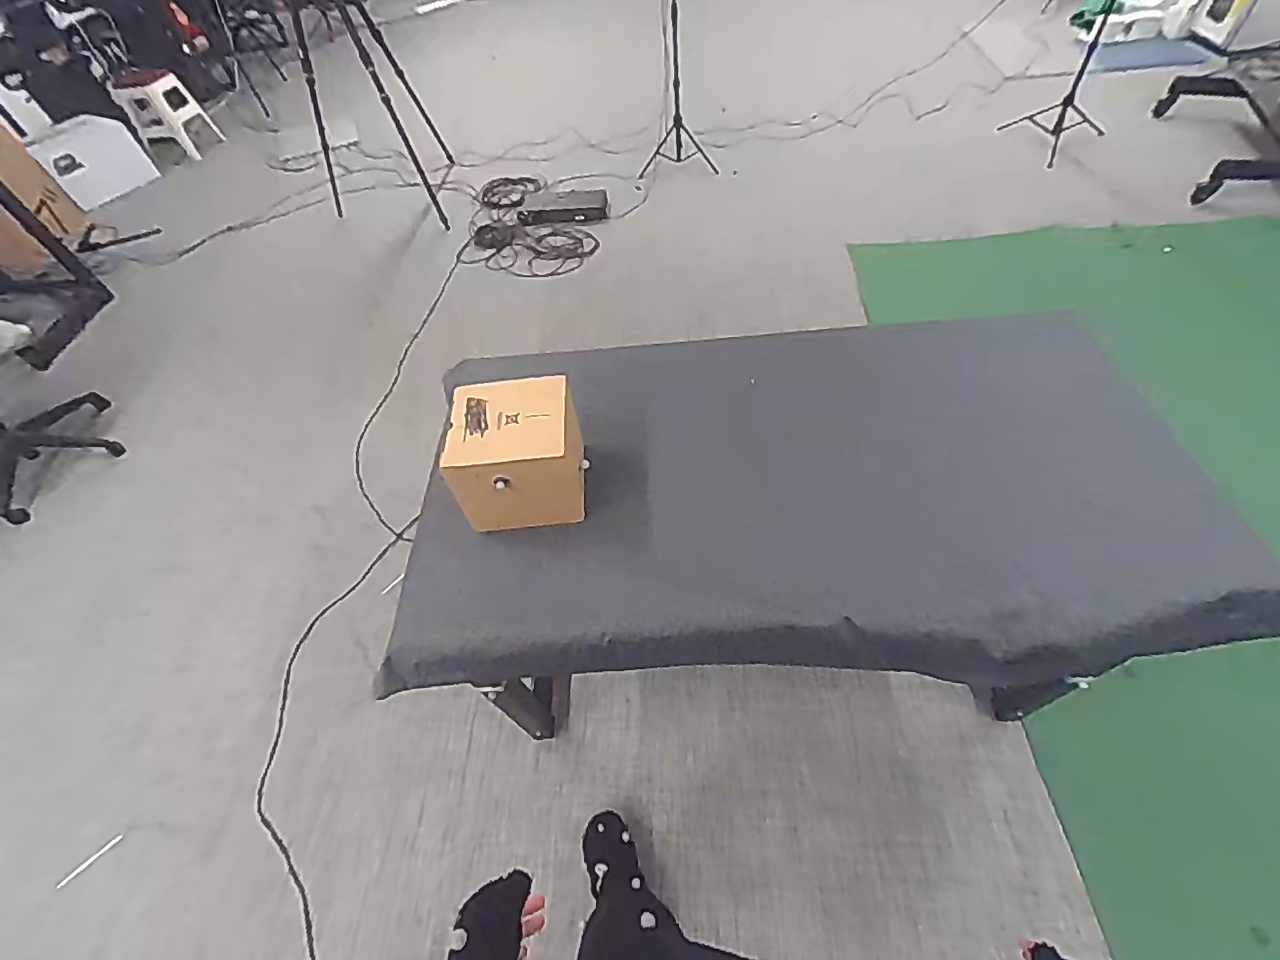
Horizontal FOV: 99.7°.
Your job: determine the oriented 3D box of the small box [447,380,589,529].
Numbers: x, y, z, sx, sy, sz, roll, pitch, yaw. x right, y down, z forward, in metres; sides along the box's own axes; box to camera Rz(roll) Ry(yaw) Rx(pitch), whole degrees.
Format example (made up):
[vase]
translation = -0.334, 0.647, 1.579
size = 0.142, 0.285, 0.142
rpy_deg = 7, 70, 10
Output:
[small box]
translation = -0.181, -0.035, 0.858
size = 0.179, 0.176, 0.168
rpy_deg = -5, 53, 1
